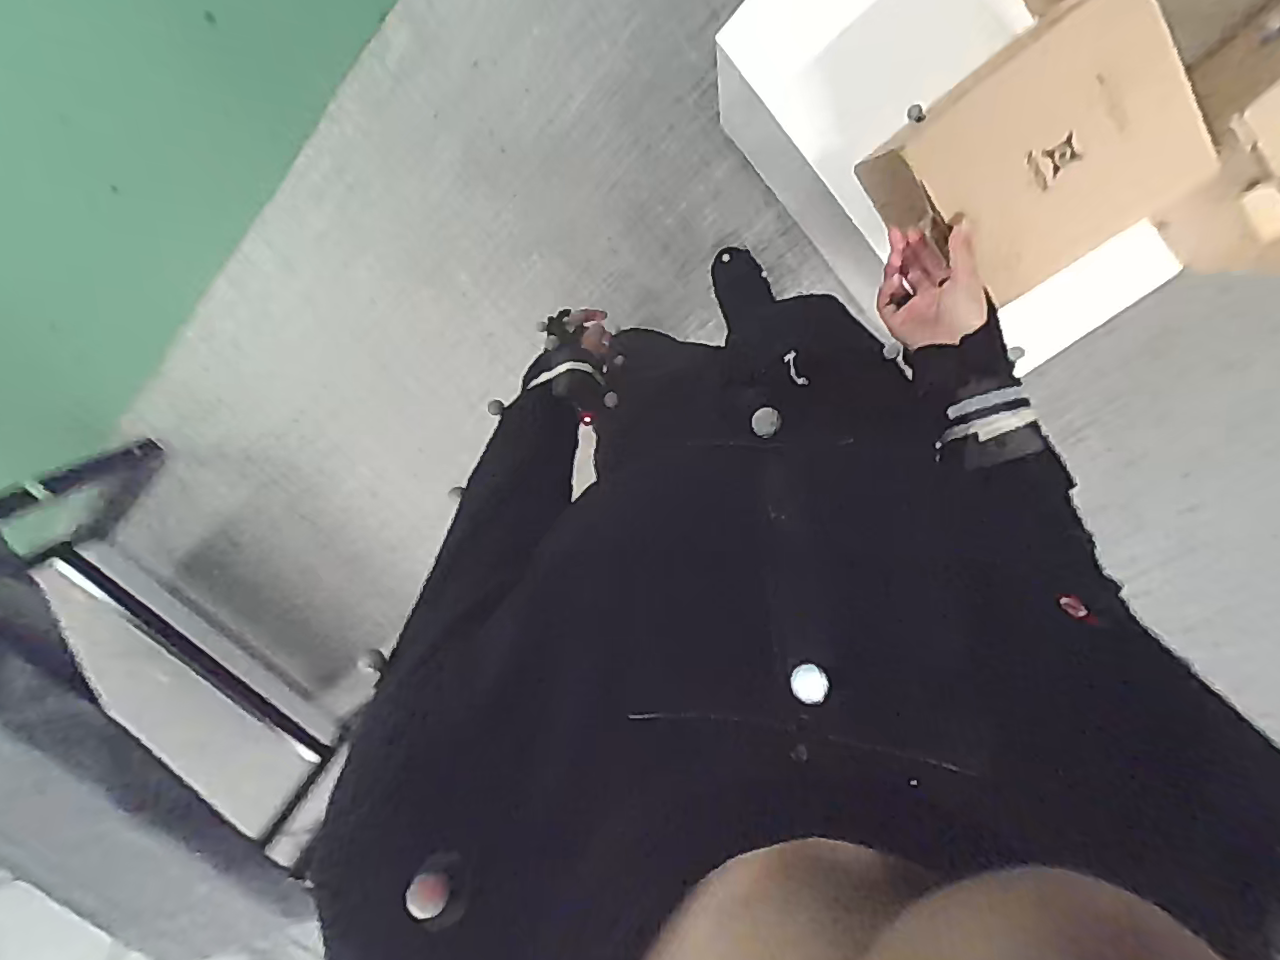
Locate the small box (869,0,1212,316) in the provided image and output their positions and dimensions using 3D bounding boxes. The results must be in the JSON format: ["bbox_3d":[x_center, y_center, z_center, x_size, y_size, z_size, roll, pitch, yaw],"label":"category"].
[{"bbox_3d":[0.333,-0.277,0.494,0.179,0.176,0.168,-33,106,20],"label":"small box"}]
